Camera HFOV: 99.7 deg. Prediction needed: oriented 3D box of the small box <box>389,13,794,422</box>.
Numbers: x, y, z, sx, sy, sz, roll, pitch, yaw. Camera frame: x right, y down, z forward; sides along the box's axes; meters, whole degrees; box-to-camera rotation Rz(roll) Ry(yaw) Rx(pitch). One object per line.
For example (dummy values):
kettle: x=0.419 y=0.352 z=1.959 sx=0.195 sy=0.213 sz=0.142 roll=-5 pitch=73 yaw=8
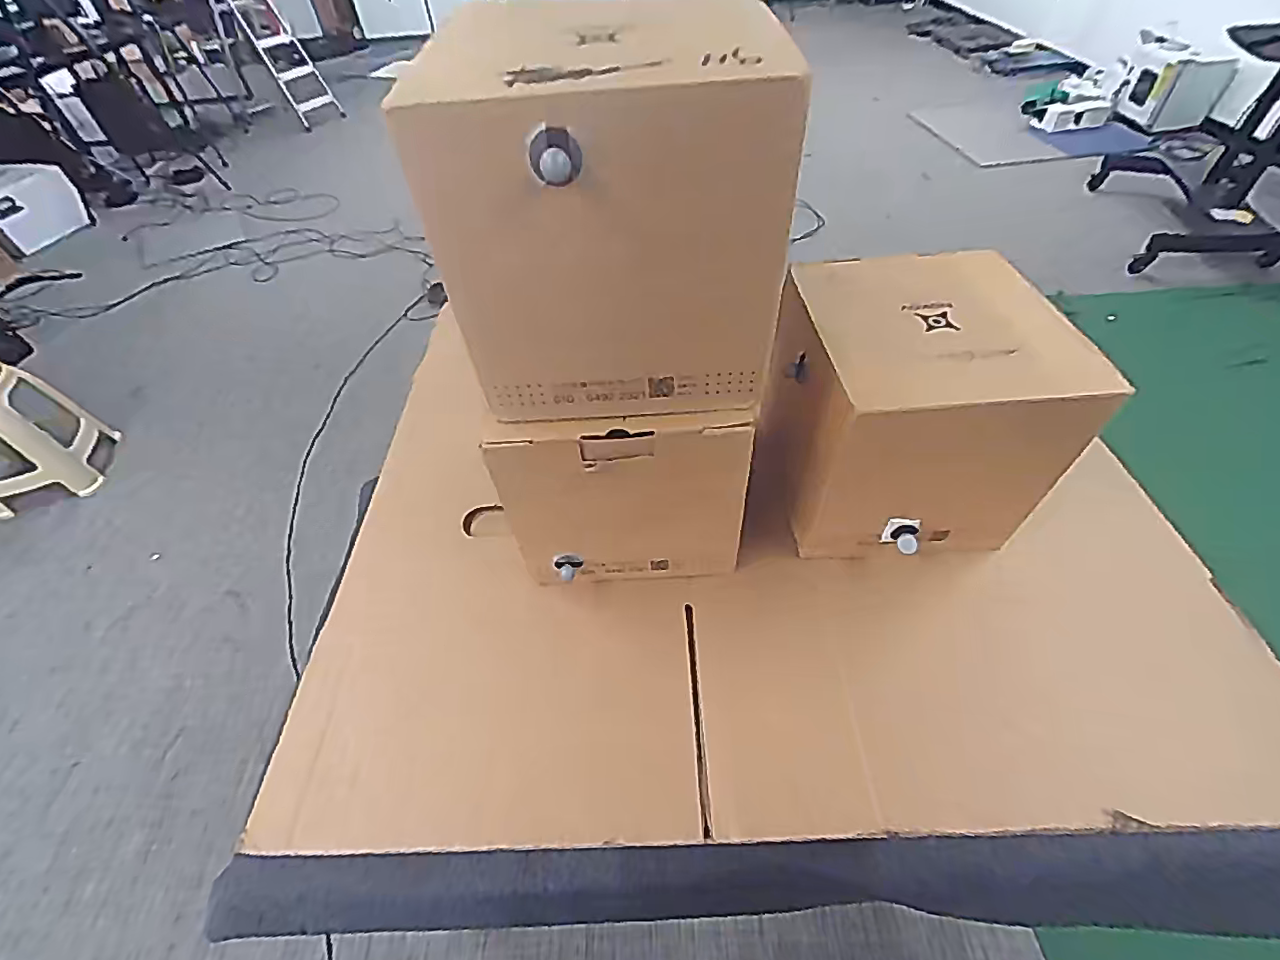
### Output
small box: x=-0.017 y=-0.155 z=0.328 sx=0.168 sy=0.176 sz=0.179 roll=-3 pitch=49 yaw=2
